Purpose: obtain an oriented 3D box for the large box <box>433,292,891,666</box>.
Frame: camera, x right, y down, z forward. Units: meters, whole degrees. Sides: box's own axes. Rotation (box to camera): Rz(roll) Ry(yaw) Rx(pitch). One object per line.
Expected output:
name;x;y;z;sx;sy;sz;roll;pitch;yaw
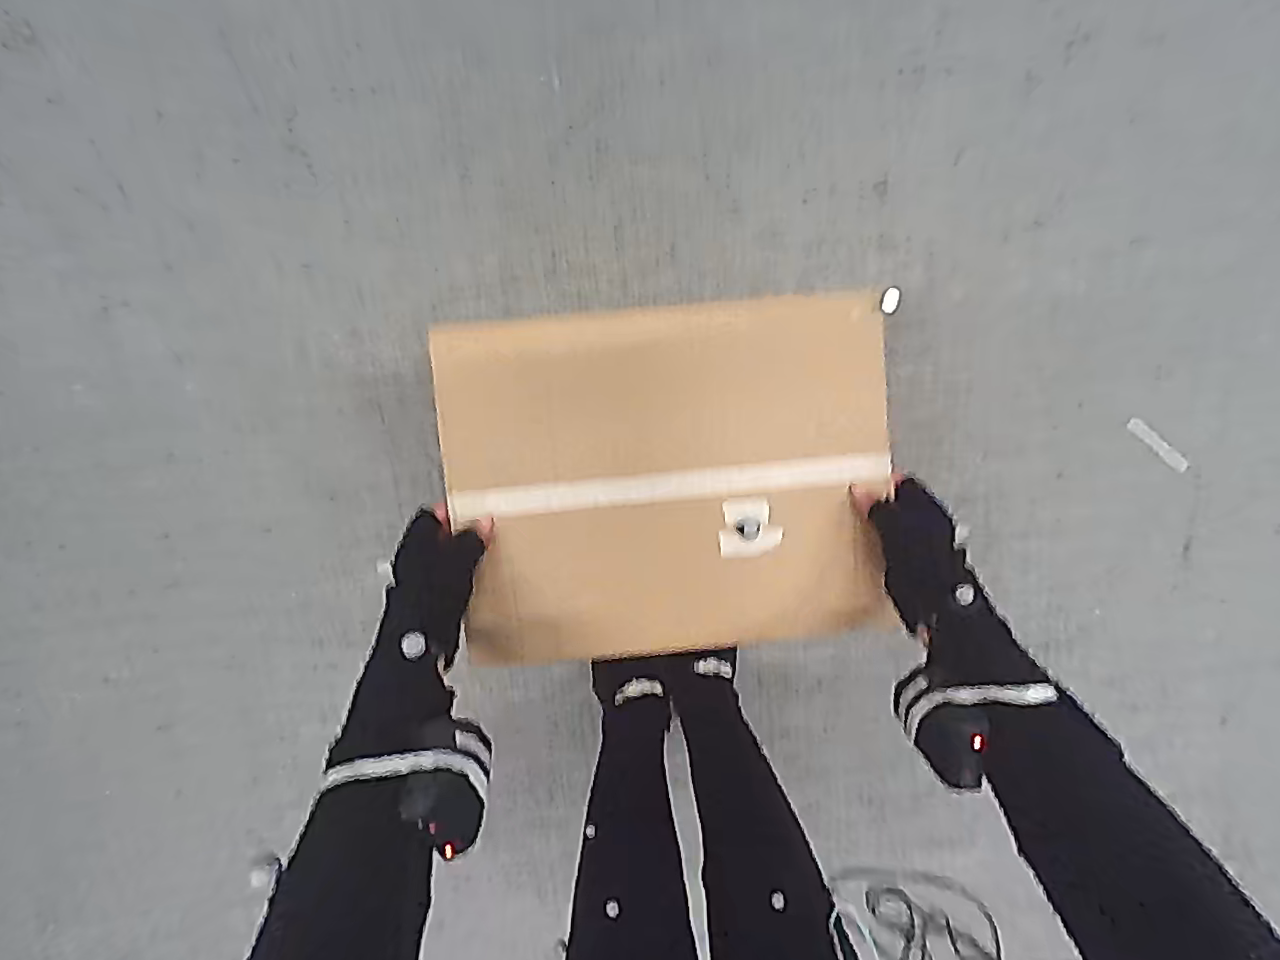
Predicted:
large box;0.021;-0.010;0.644;0.408;0.320;0.320;-5;96;-2
